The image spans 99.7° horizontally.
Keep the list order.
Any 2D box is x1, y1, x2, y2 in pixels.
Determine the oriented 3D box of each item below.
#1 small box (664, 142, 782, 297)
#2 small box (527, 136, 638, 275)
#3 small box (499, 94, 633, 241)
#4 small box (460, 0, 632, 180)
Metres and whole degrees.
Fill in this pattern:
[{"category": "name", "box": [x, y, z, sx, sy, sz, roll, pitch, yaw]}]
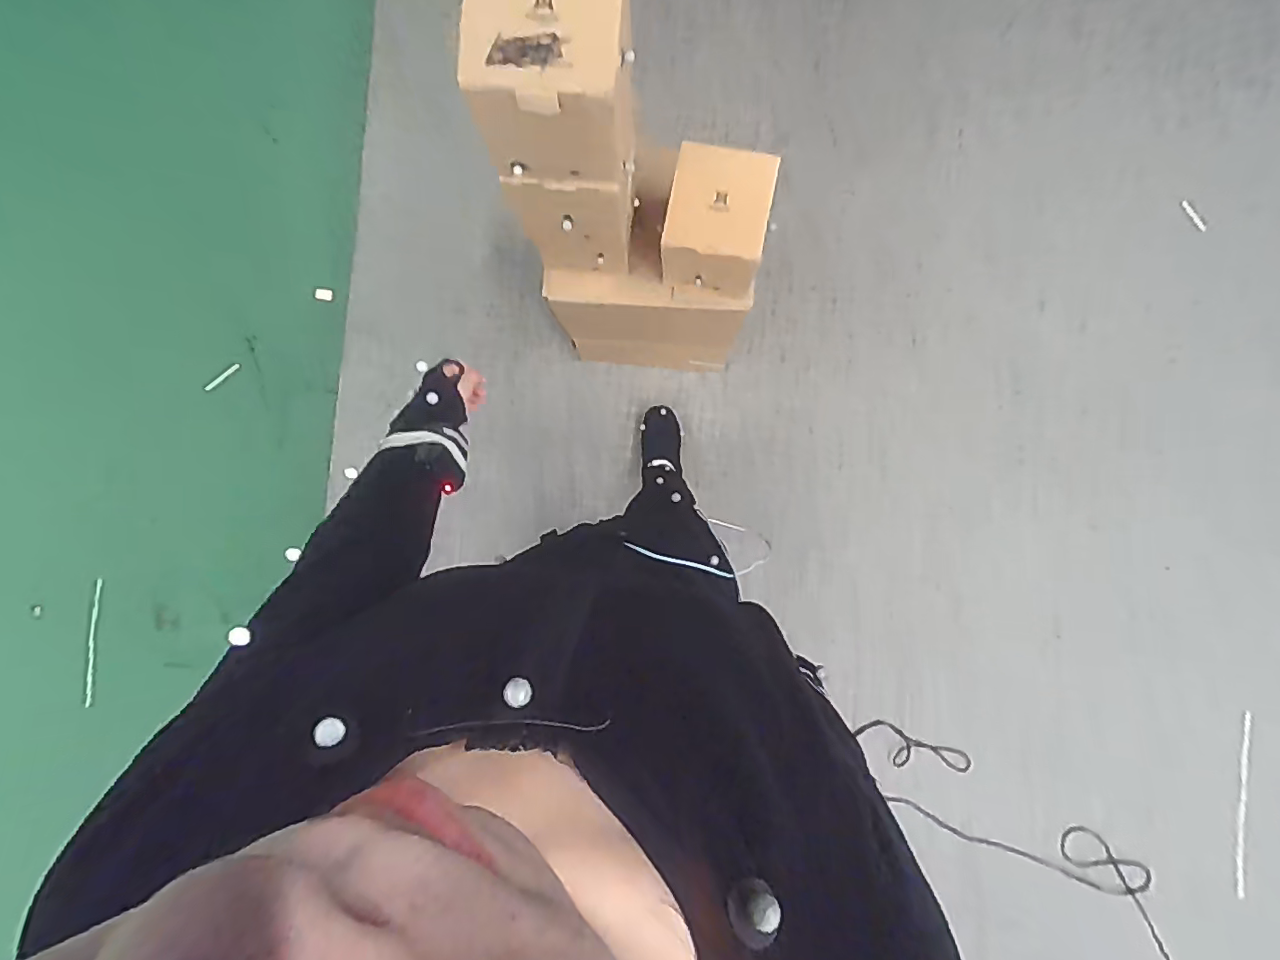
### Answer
[{"category": "small box", "box": [0.138, -0.448, 0.952, 0.168, 0.176, 0.179, 11, 90, 4]}, {"category": "small box", "box": [-0.093, -0.486, 0.964, 0.168, 0.176, 0.179, 6, 90, 0]}, {"category": "small box", "box": [-0.100, -0.475, 0.800, 0.168, 0.176, 0.179, 5, 91, 0]}, {"category": "small box", "box": [-0.098, -0.483, 0.636, 0.168, 0.176, 0.179, 4, 89, 0]}]
